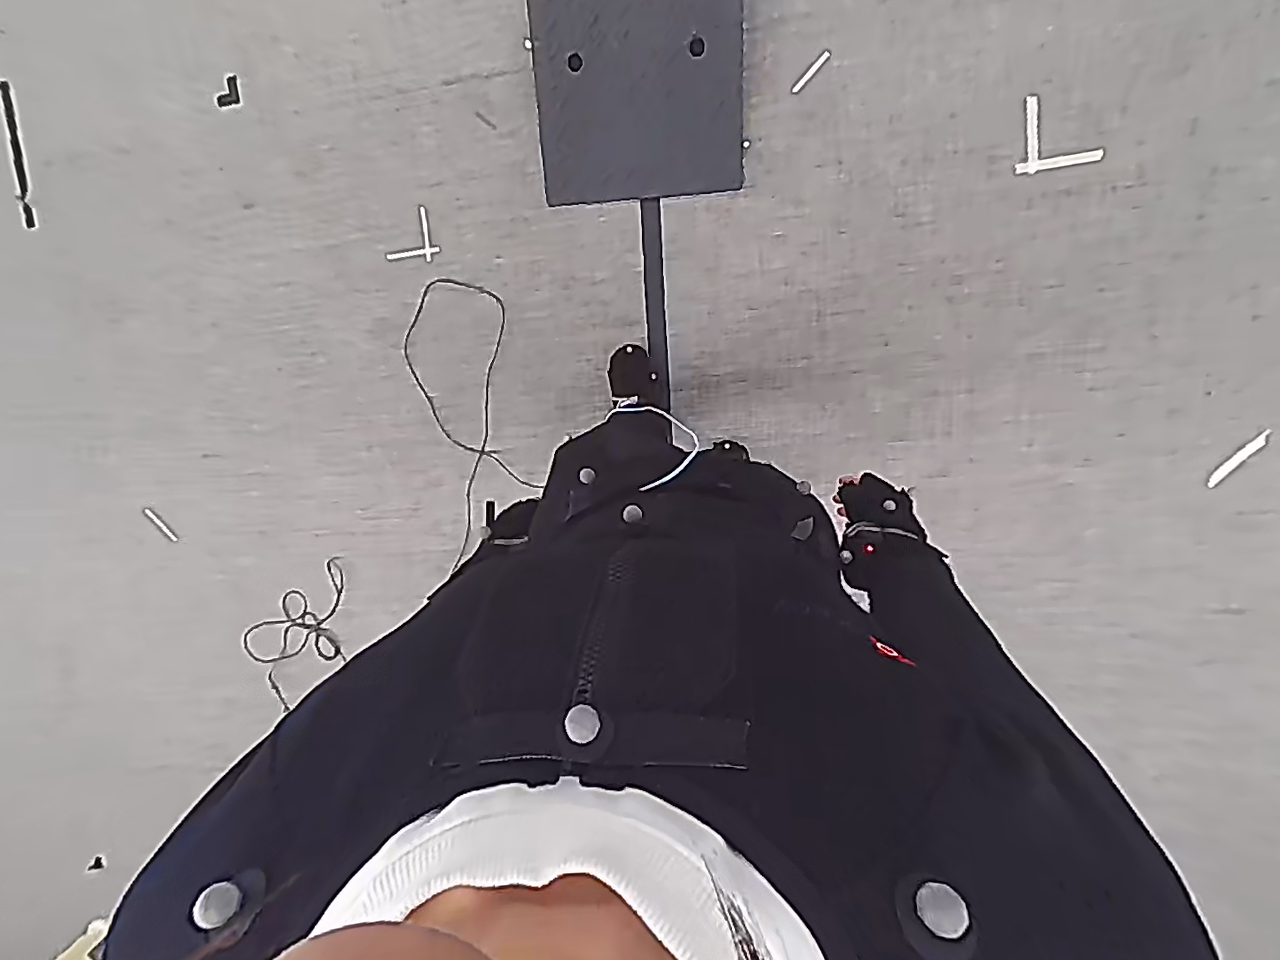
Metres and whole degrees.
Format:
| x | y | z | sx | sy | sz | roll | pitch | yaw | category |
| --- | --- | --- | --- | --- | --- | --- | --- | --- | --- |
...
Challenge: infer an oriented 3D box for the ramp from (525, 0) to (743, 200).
| x | y | z | sx | sy | sz | roll | pitch | yaw | category |
| --- | --- | --- | --- | --- | --- | --- | --- | --- | --- |
| -0.025 | -1.181 | 1.171 | 0.509 | 0.206 | 0.991 | -2 | 99 | 8 | ramp |
